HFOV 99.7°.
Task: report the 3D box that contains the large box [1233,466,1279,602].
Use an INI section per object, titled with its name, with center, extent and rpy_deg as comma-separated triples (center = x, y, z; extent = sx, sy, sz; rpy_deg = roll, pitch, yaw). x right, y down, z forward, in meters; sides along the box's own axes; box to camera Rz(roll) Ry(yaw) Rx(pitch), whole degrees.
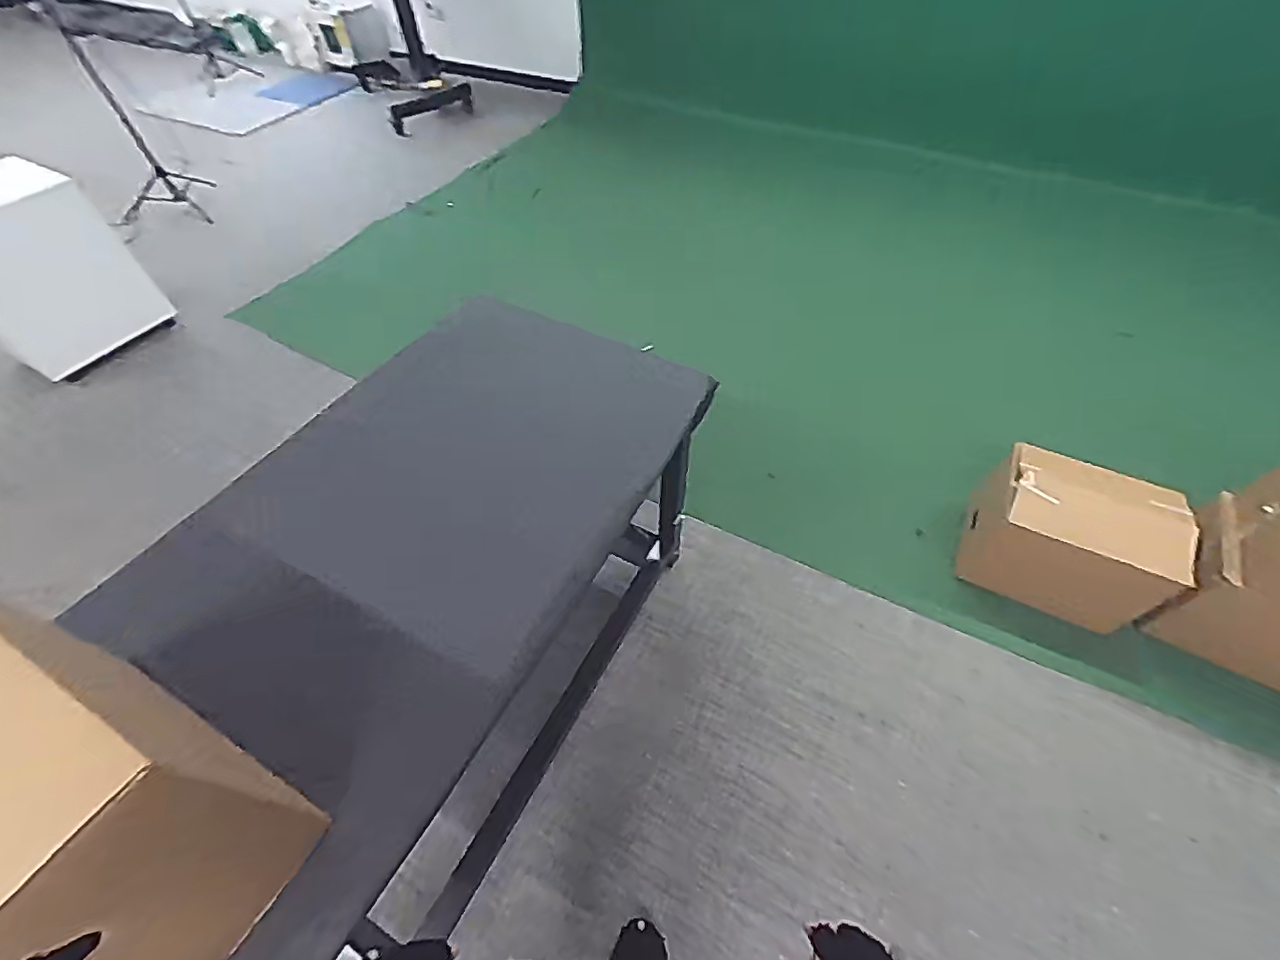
[large box]
center = 1.645, 0.137, 1.157
extent = 0.408, 0.320, 0.320
rpy_deg = 25, 58, 17
